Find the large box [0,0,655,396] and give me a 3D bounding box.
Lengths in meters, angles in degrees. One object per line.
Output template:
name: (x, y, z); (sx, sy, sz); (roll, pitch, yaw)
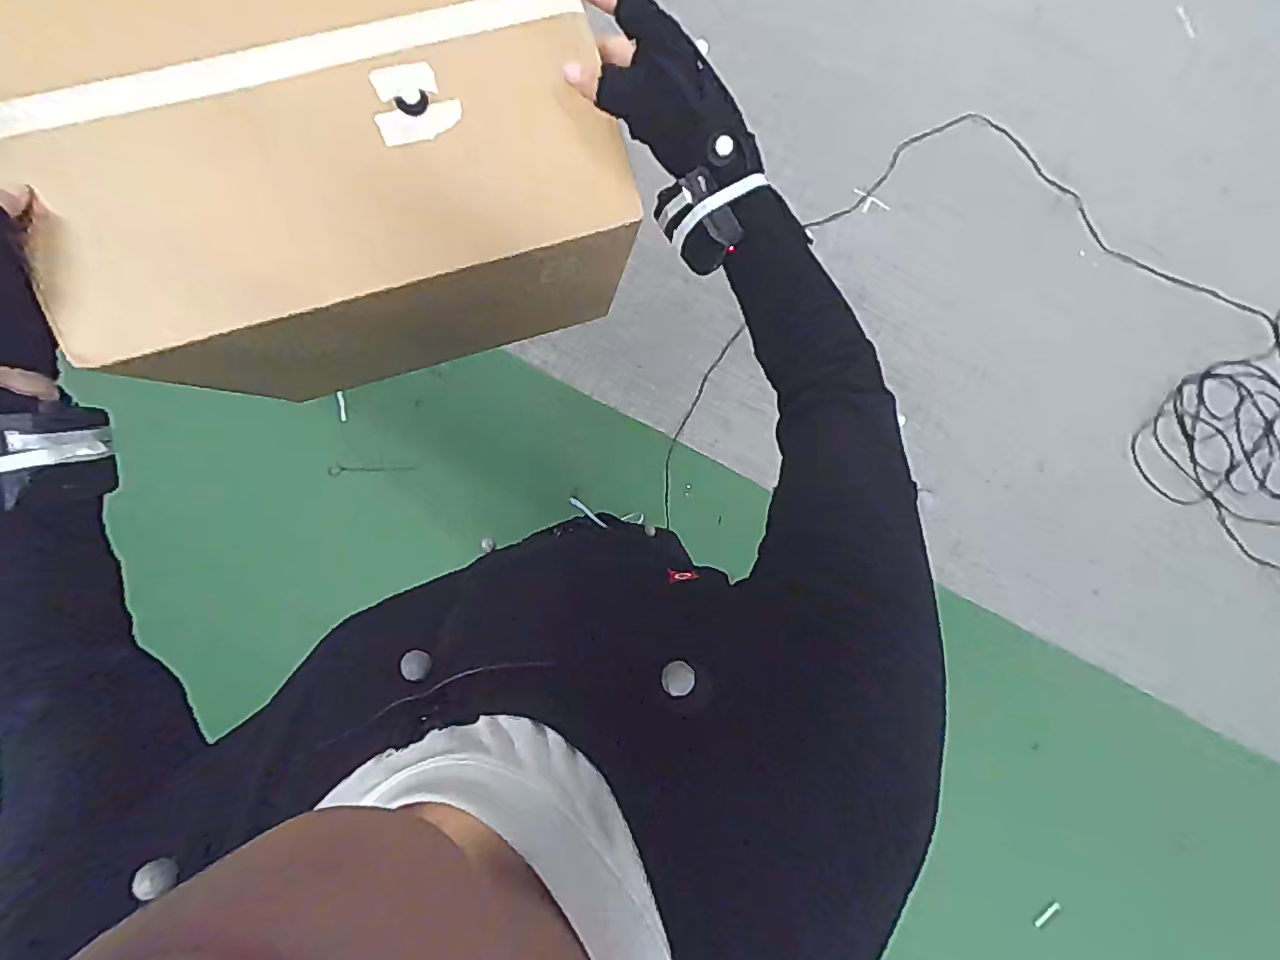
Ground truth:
large box: (-0.240, -0.298, 0.532); (0.408, 0.320, 0.320); (-18, 96, -7)
